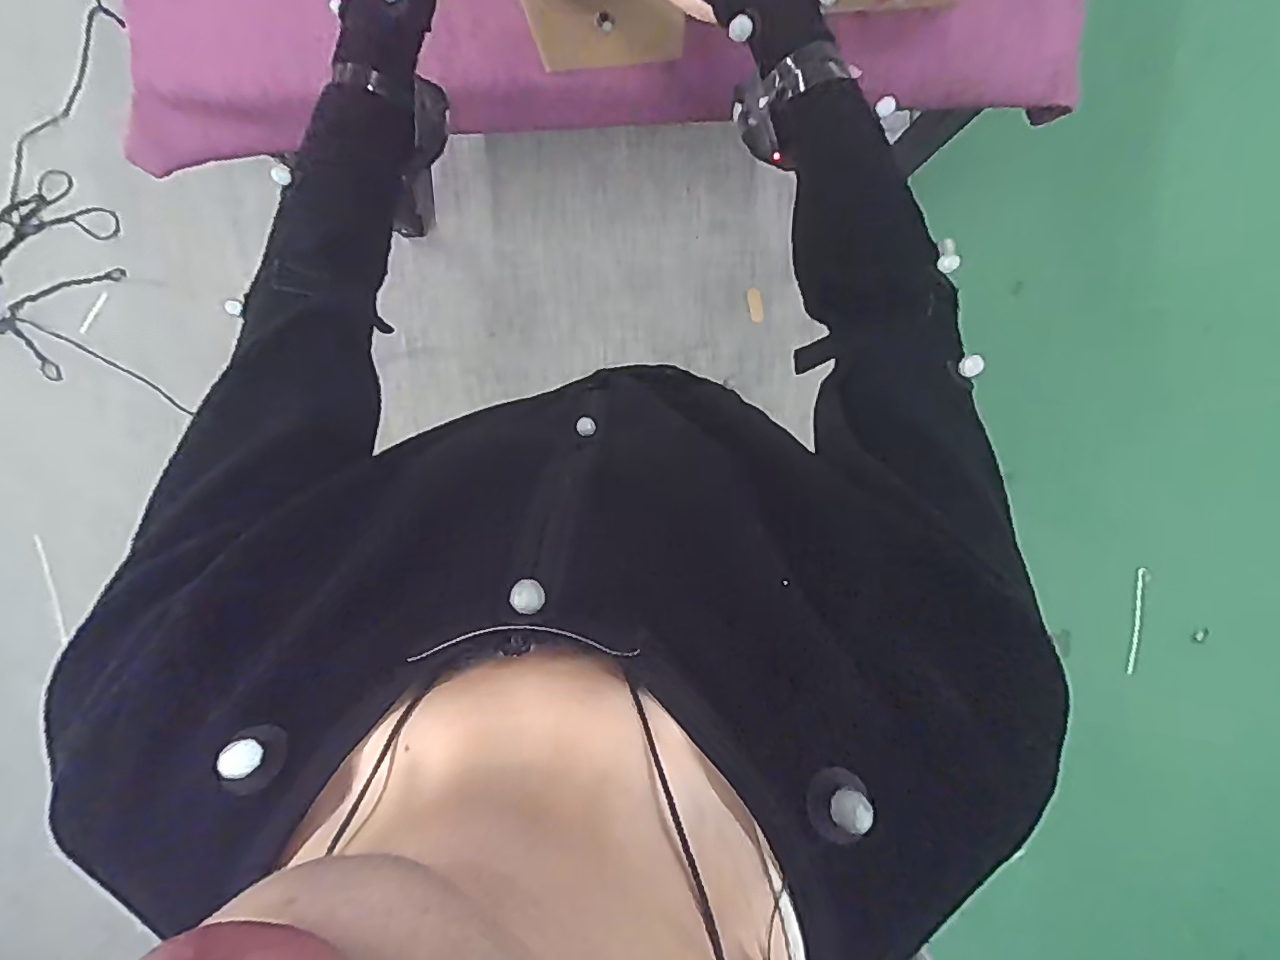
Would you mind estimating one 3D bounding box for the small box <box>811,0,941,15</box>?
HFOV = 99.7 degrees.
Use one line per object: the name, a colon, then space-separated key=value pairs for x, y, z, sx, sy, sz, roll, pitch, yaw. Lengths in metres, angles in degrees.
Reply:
small box: x=0.291 y=-0.644 z=0.573 sx=0.179 sy=0.176 sz=0.168 roll=-2 pitch=96 yaw=3
